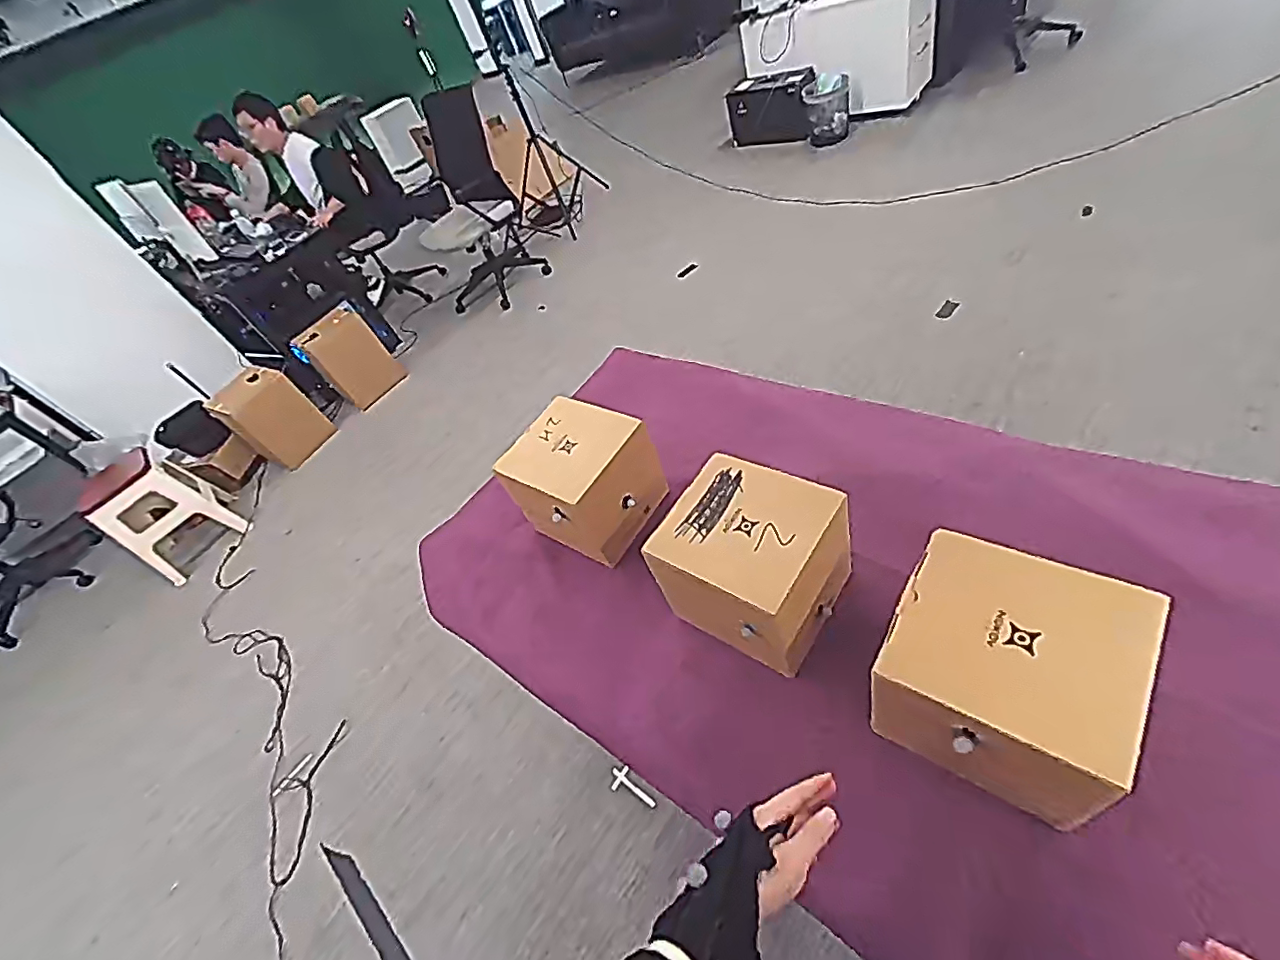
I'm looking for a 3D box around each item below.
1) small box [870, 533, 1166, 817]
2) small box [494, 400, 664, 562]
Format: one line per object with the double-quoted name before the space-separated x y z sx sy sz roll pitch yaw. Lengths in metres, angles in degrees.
"small box" 0.337 0.183 0.508 0.179 0.176 0.168 19 60 36
"small box" -0.084 0.005 0.848 0.179 0.176 0.168 21 60 33
